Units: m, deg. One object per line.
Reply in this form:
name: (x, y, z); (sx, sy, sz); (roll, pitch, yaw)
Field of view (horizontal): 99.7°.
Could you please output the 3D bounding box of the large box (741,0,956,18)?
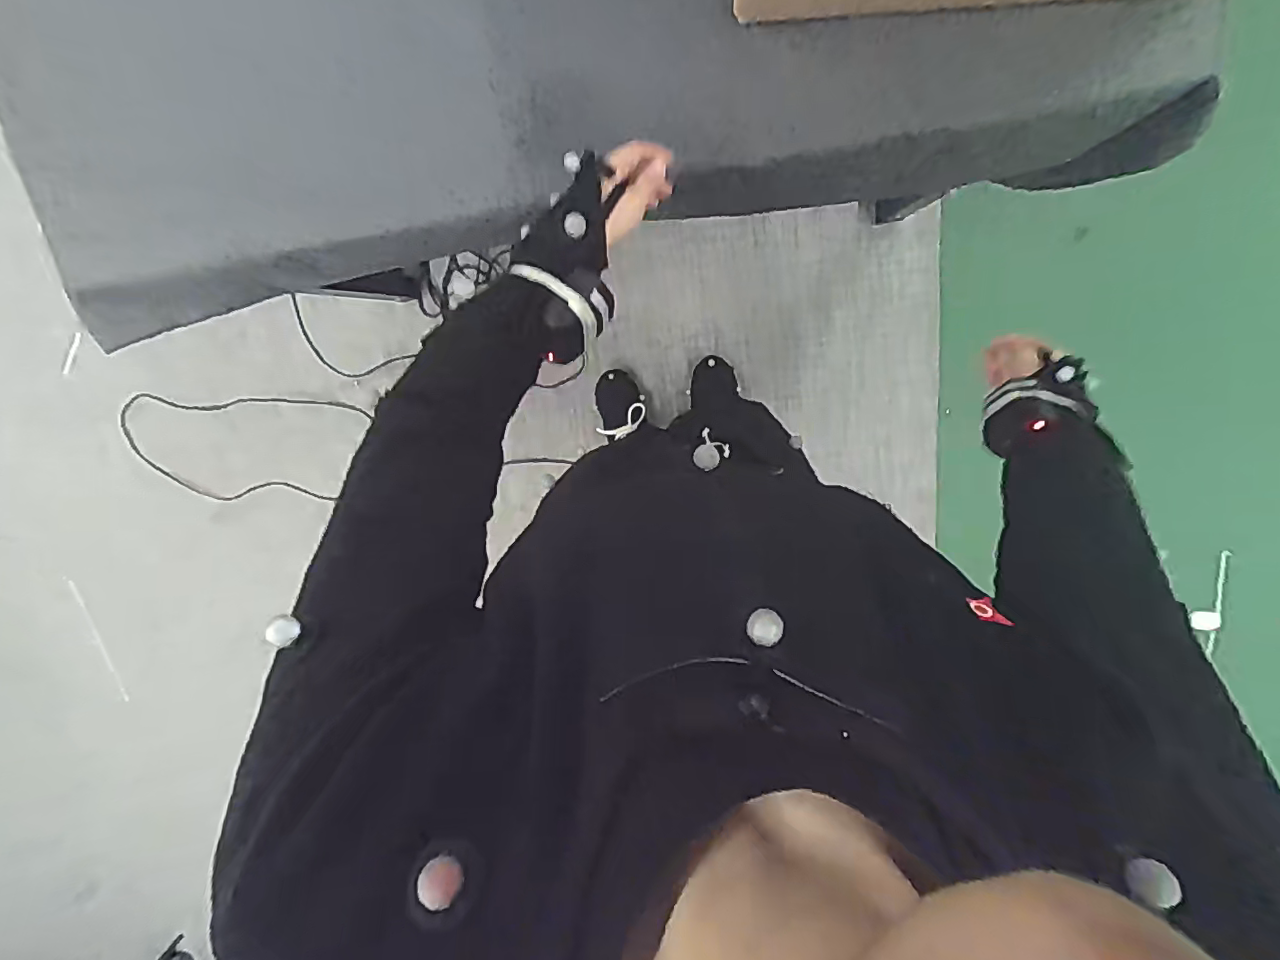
large box: (0.270, -0.536, 0.302); (0.408, 0.320, 0.320); (0, 105, 5)
